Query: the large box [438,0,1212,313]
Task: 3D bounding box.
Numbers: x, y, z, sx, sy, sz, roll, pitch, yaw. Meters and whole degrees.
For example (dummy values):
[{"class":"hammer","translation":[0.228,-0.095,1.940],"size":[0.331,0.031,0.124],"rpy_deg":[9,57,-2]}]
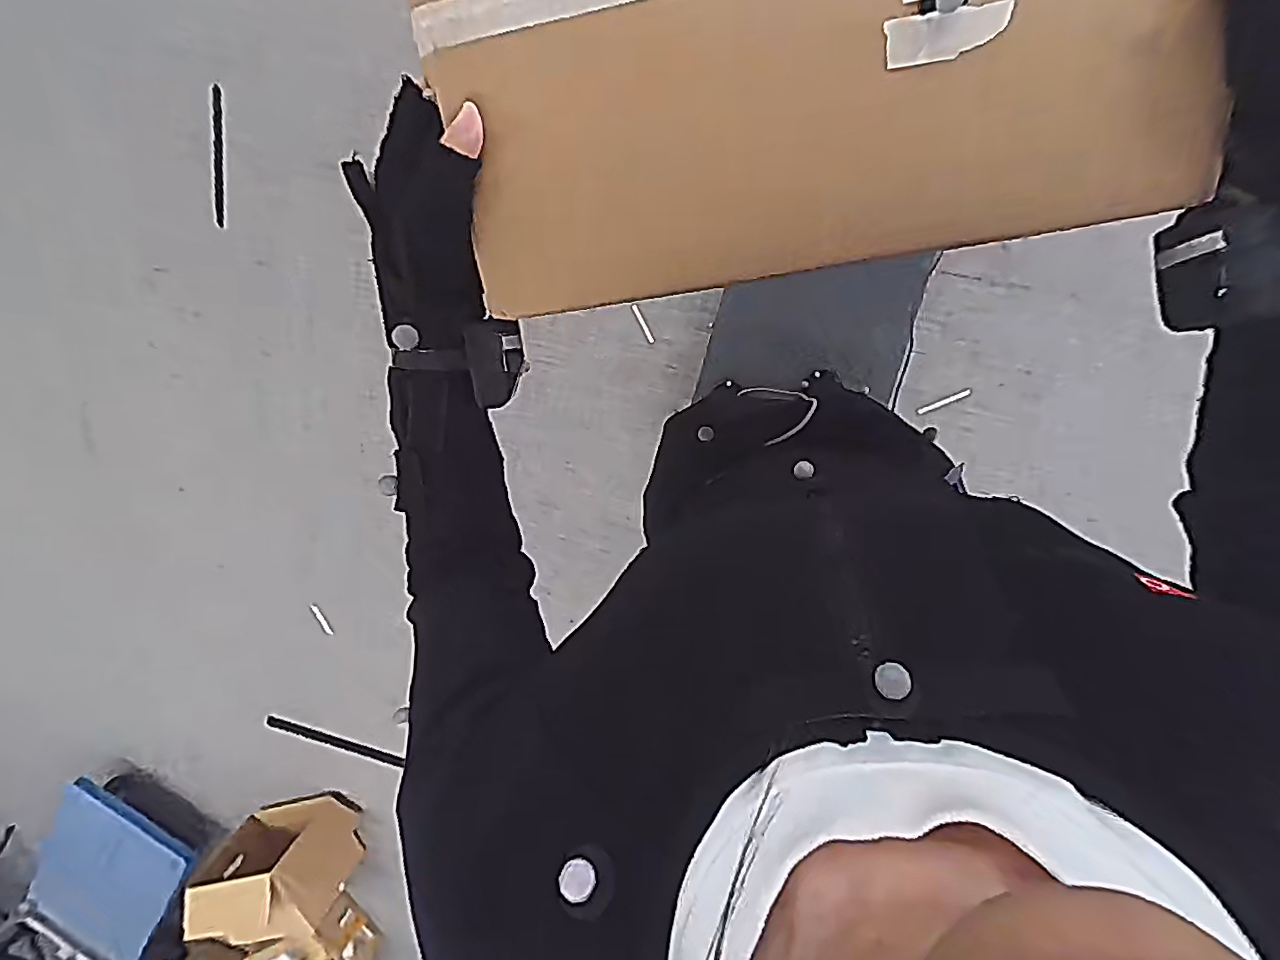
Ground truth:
[{"class":"large box","translation":[0.096,-0.328,0.420],"size":[0.408,0.320,0.320],"rpy_deg":[-7,110,9]}]
